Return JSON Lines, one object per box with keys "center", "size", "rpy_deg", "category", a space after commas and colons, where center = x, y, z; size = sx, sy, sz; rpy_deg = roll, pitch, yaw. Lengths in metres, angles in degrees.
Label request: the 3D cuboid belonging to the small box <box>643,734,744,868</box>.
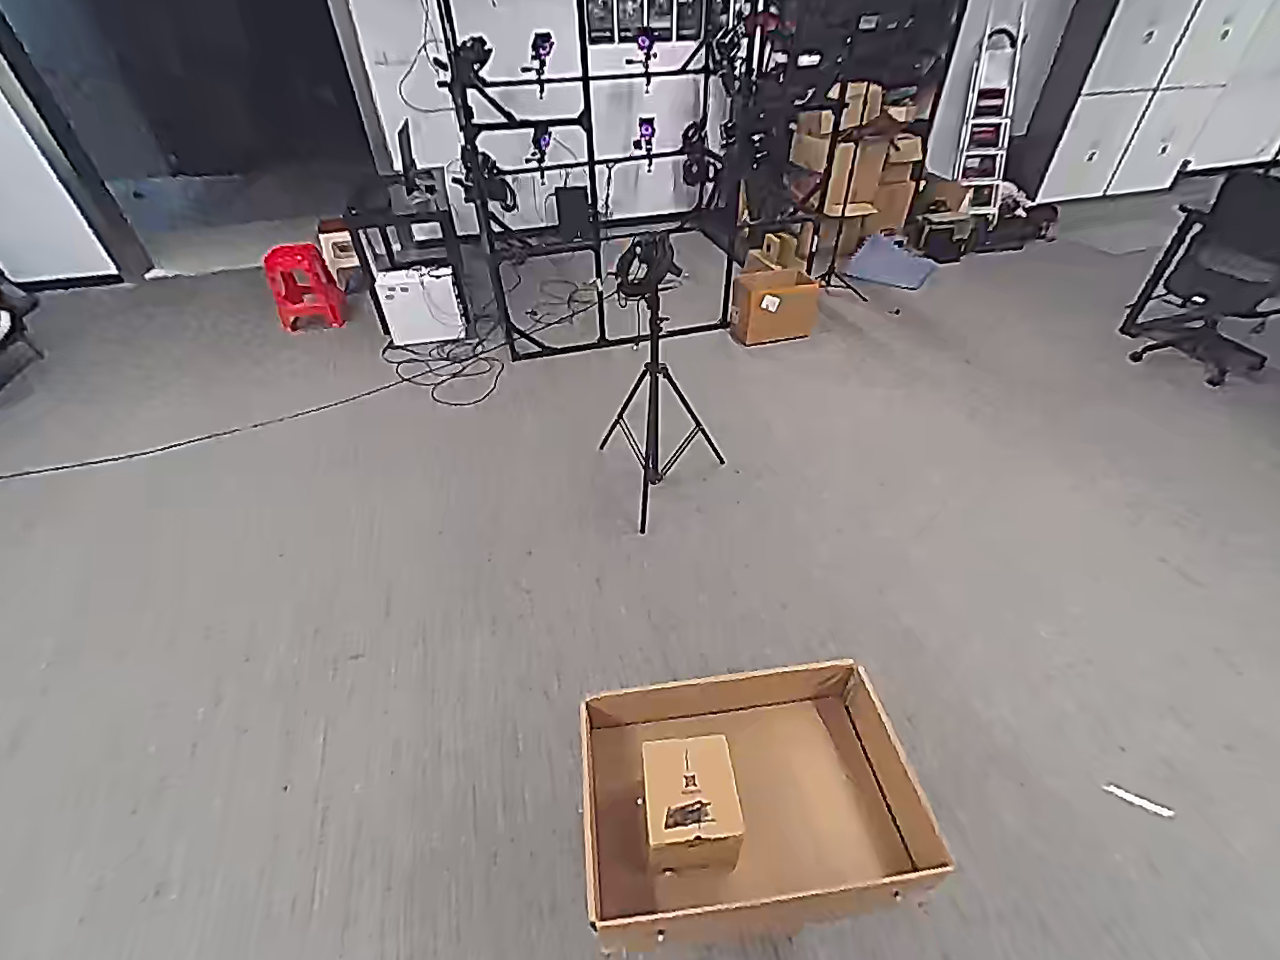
{"center": [0.095, 0.611, 1.026], "size": [0.168, 0.176, 0.179], "rpy_deg": [-4, 40, -3], "category": "small box"}
